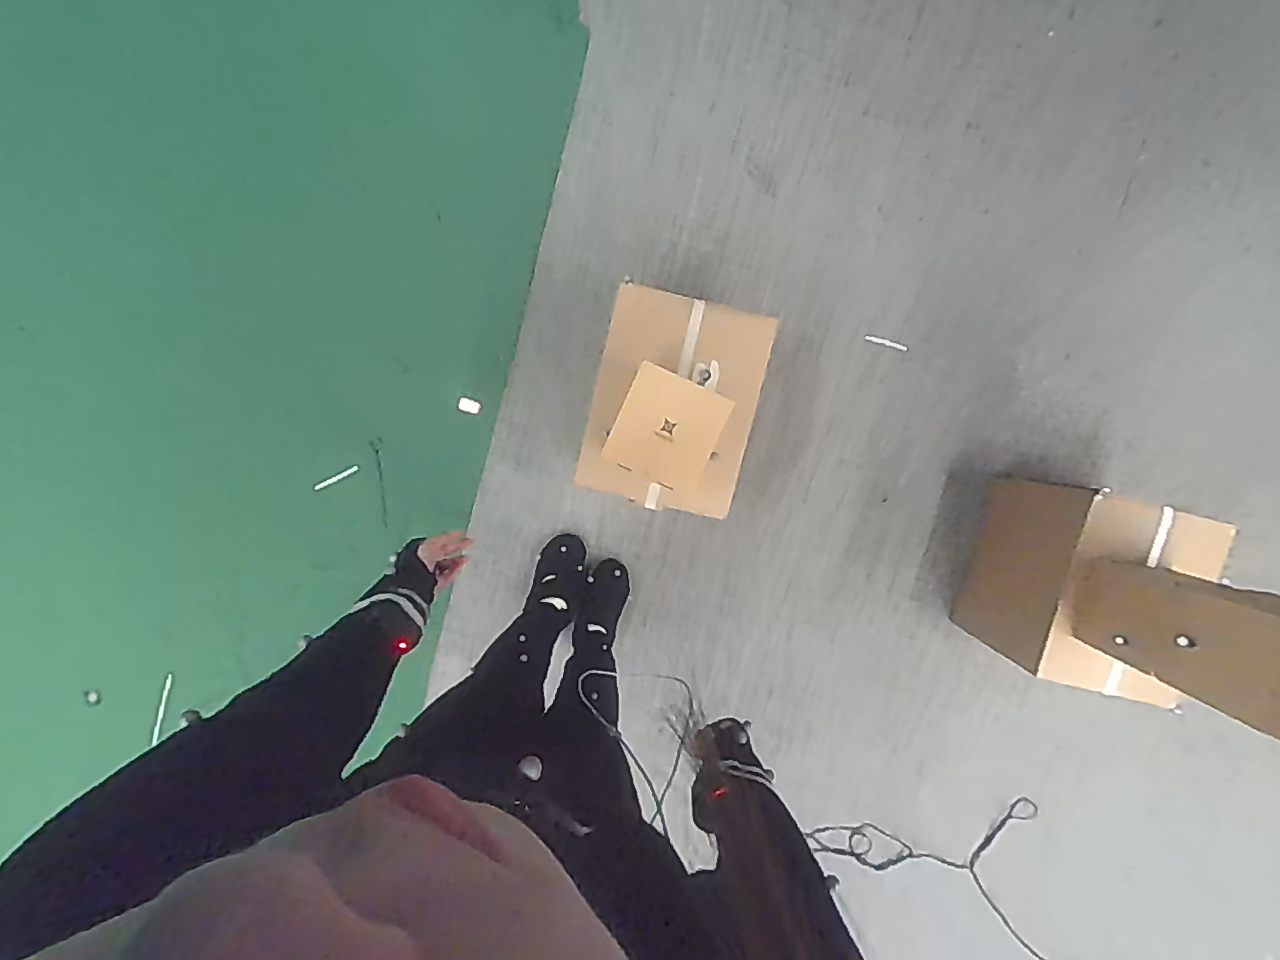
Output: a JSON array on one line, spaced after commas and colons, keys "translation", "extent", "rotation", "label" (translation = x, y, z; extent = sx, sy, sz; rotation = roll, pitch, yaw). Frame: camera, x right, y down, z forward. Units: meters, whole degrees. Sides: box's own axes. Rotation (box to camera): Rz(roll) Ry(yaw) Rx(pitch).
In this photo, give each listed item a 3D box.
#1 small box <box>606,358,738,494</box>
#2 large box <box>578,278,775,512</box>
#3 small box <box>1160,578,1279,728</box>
[{"translation": [0.051, -0.095, 0.957], "extent": [0.168, 0.176, 0.179], "rotation": [25, 96, -2], "label": "small box"}, {"translation": [0.068, -0.171, 1.195], "extent": [0.320, 0.320, 0.408], "rotation": [14, 95, -2], "label": "large box"}, {"translation": [0.989, 0.271, 0.855], "extent": [0.168, 0.176, 0.179], "rotation": [5, 97, 0], "label": "small box"}]
